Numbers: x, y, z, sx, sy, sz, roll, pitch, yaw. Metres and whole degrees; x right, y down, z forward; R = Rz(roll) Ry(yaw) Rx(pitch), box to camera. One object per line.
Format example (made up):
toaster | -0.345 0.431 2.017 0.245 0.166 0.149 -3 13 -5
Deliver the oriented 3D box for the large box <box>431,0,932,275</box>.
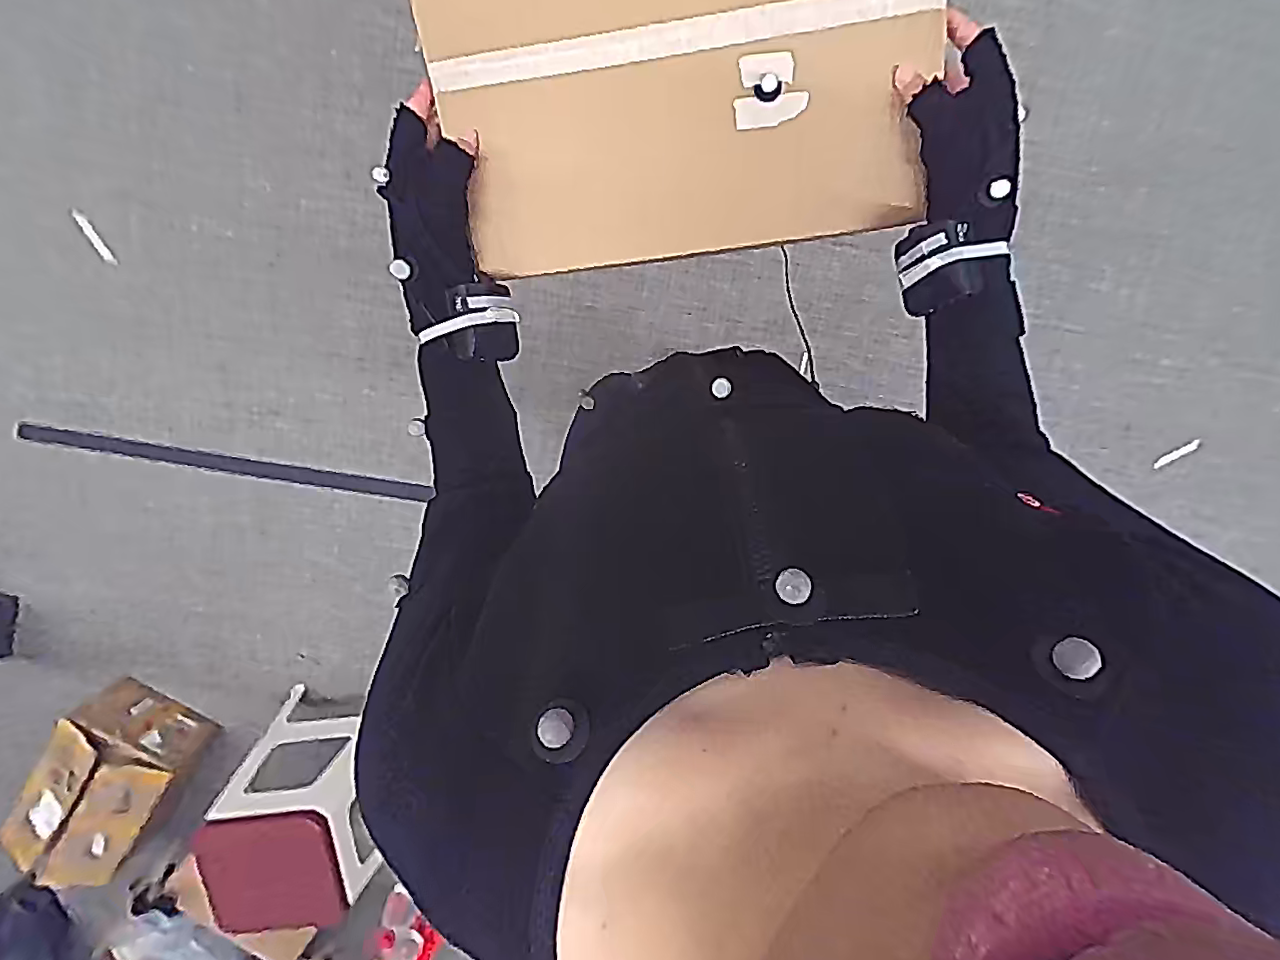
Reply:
large box | 0.036 -0.408 0.578 0.408 0.320 0.320 -5 111 3
